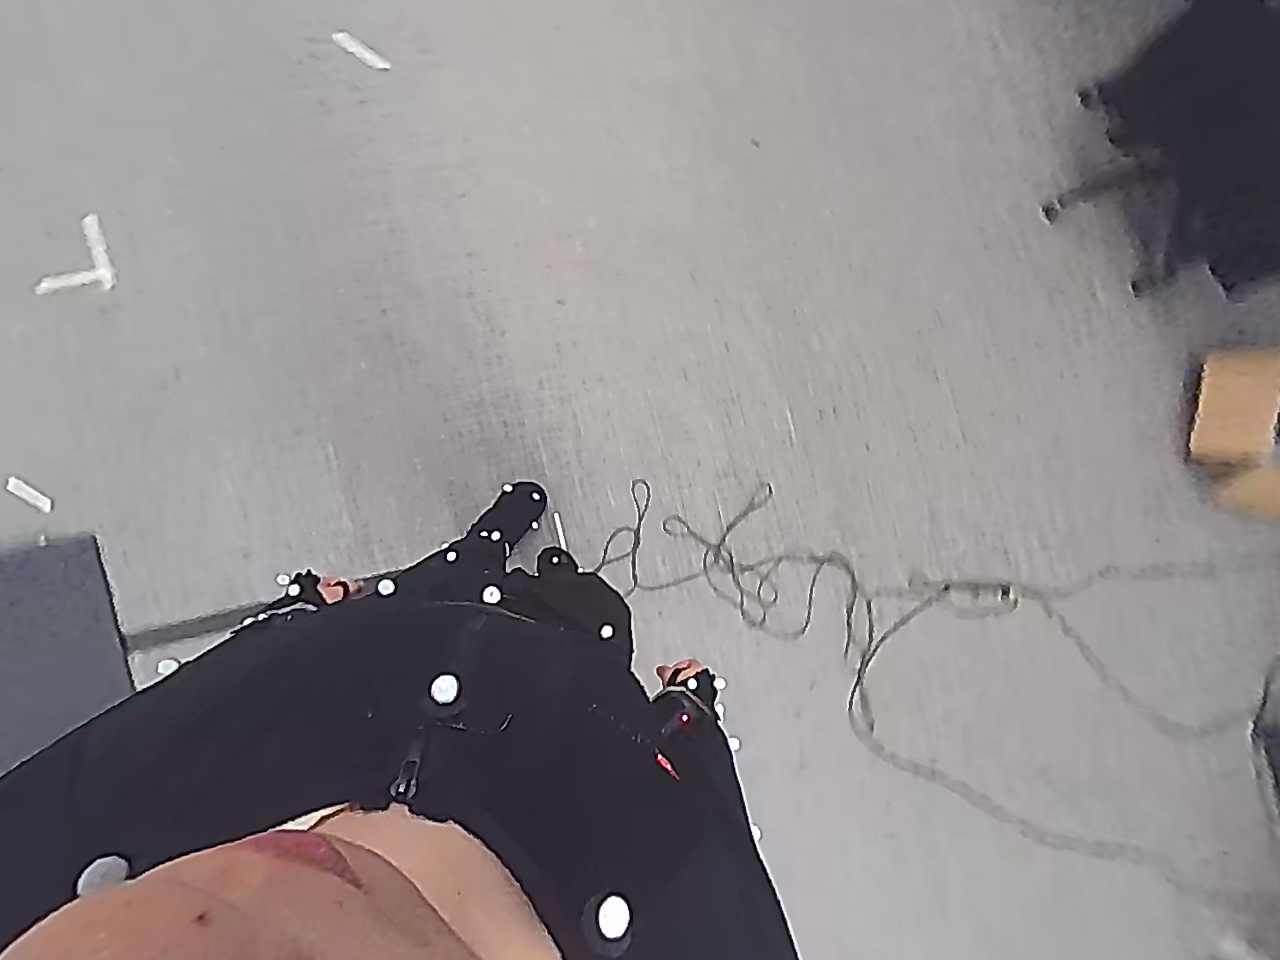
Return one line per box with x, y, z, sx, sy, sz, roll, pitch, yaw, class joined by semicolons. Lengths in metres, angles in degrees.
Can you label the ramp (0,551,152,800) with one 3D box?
-1.650;0.505;1.110;0.991;0.206;0.509;-15;88;-8;ramp
